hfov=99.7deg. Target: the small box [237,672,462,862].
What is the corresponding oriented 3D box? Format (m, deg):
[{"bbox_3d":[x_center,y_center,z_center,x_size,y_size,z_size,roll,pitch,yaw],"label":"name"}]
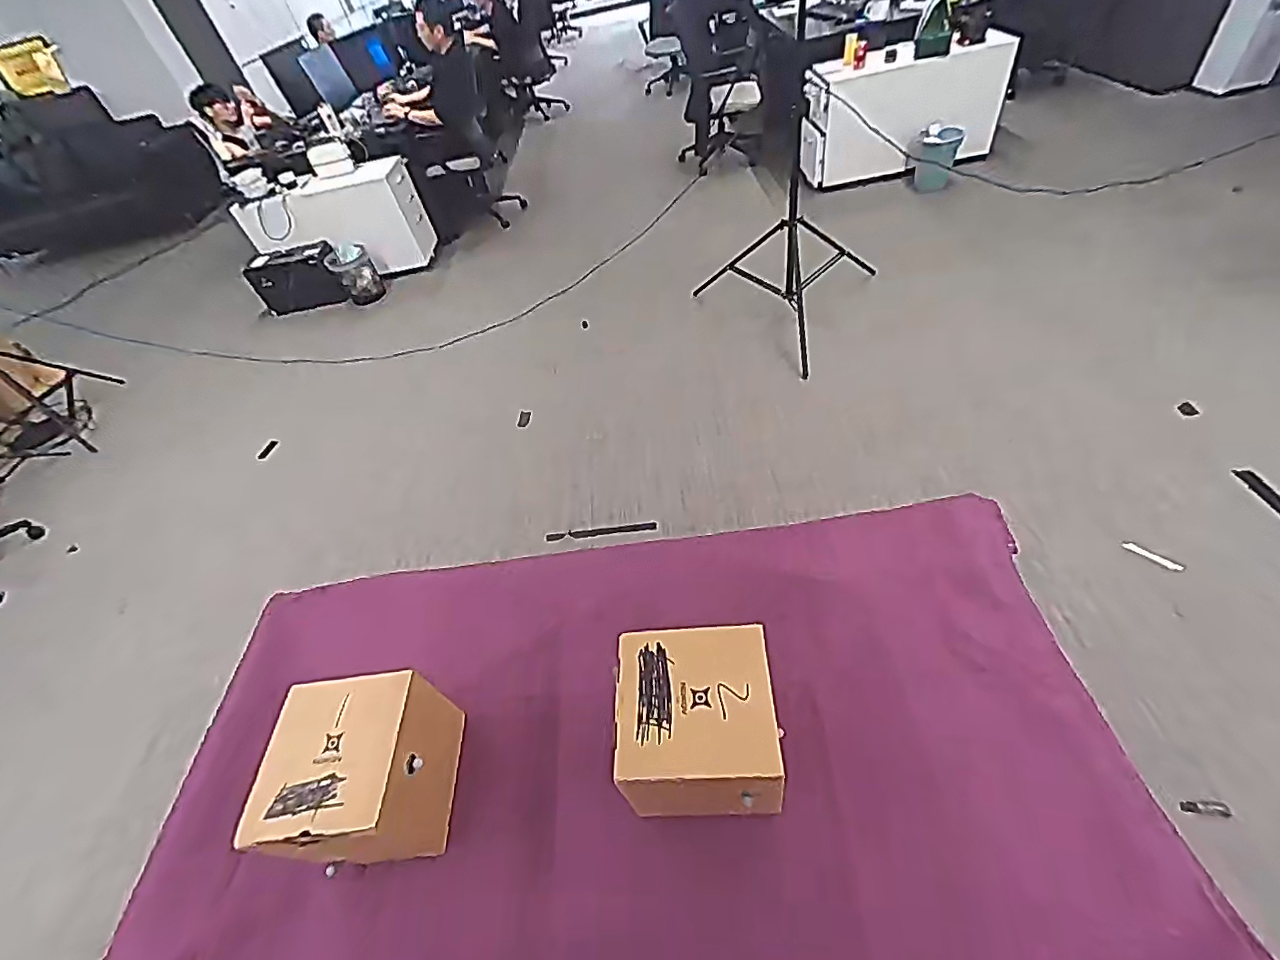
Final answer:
[{"bbox_3d":[-0.344,0.368,0.685,0.168,0.176,0.179,-9,47,4],"label":"small box"}]
